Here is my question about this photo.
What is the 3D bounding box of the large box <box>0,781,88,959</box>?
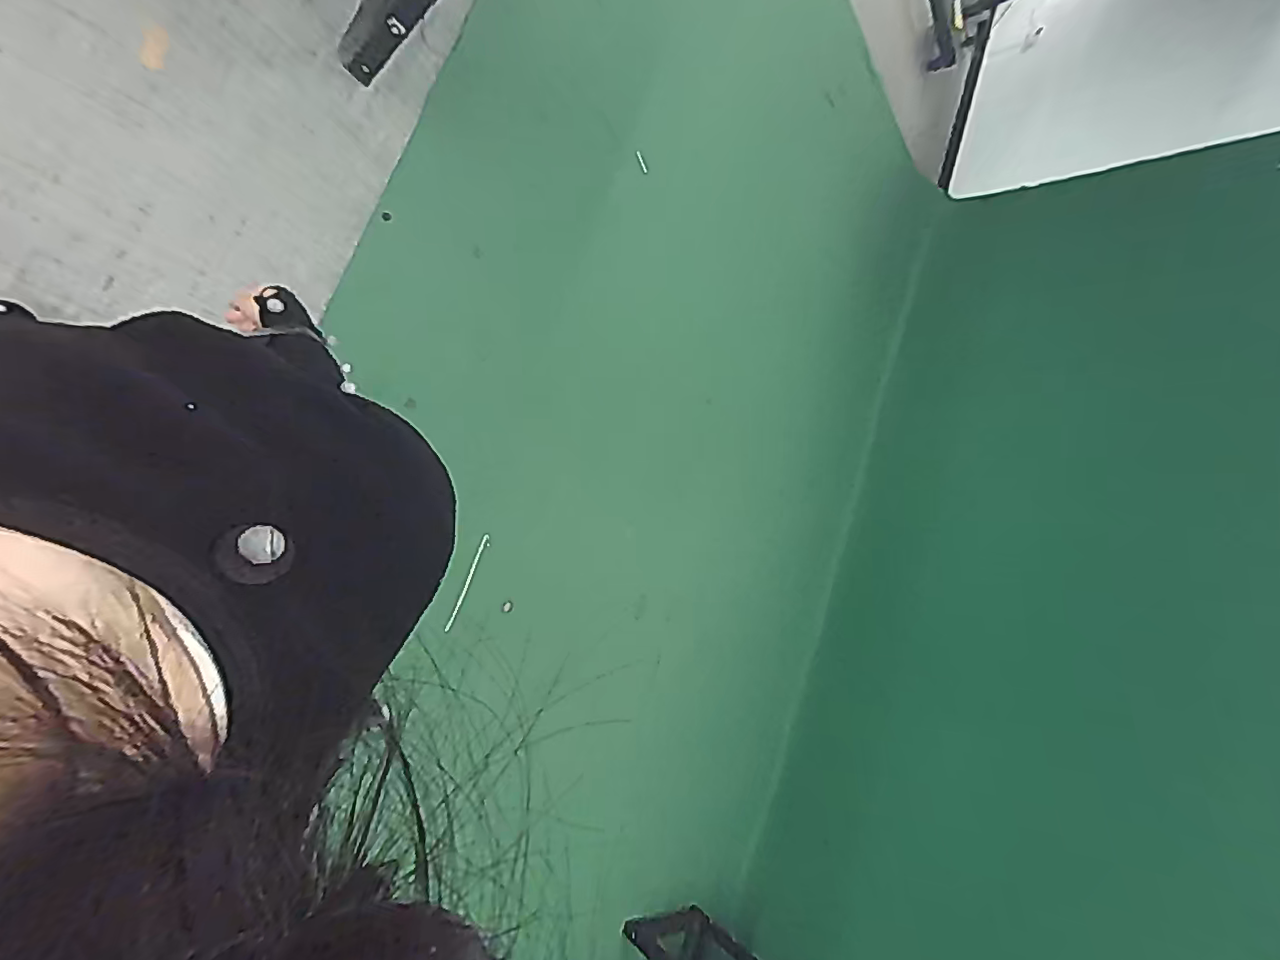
[{"bbox_3d":[-1.222,0.775,0.893,0.408,0.320,0.320,9,91,-47],"label":"large box"}]
